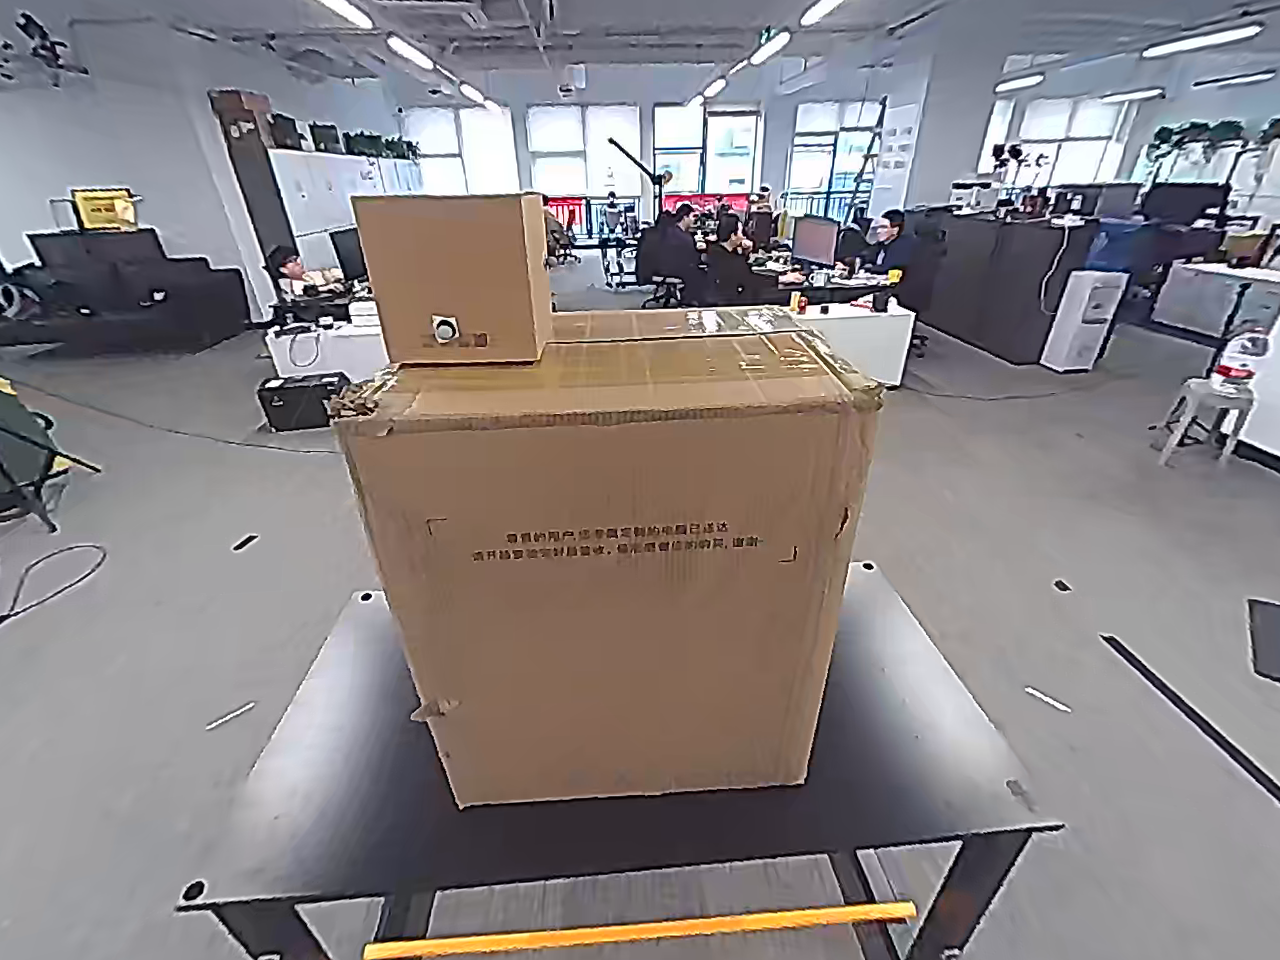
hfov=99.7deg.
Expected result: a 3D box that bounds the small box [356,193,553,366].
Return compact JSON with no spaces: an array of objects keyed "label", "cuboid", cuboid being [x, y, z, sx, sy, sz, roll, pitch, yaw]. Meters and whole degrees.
[{"label":"small box","cuboid":[-0.196,-0.237,0.629,0.168,0.176,0.179,-3,29,-2]}]
